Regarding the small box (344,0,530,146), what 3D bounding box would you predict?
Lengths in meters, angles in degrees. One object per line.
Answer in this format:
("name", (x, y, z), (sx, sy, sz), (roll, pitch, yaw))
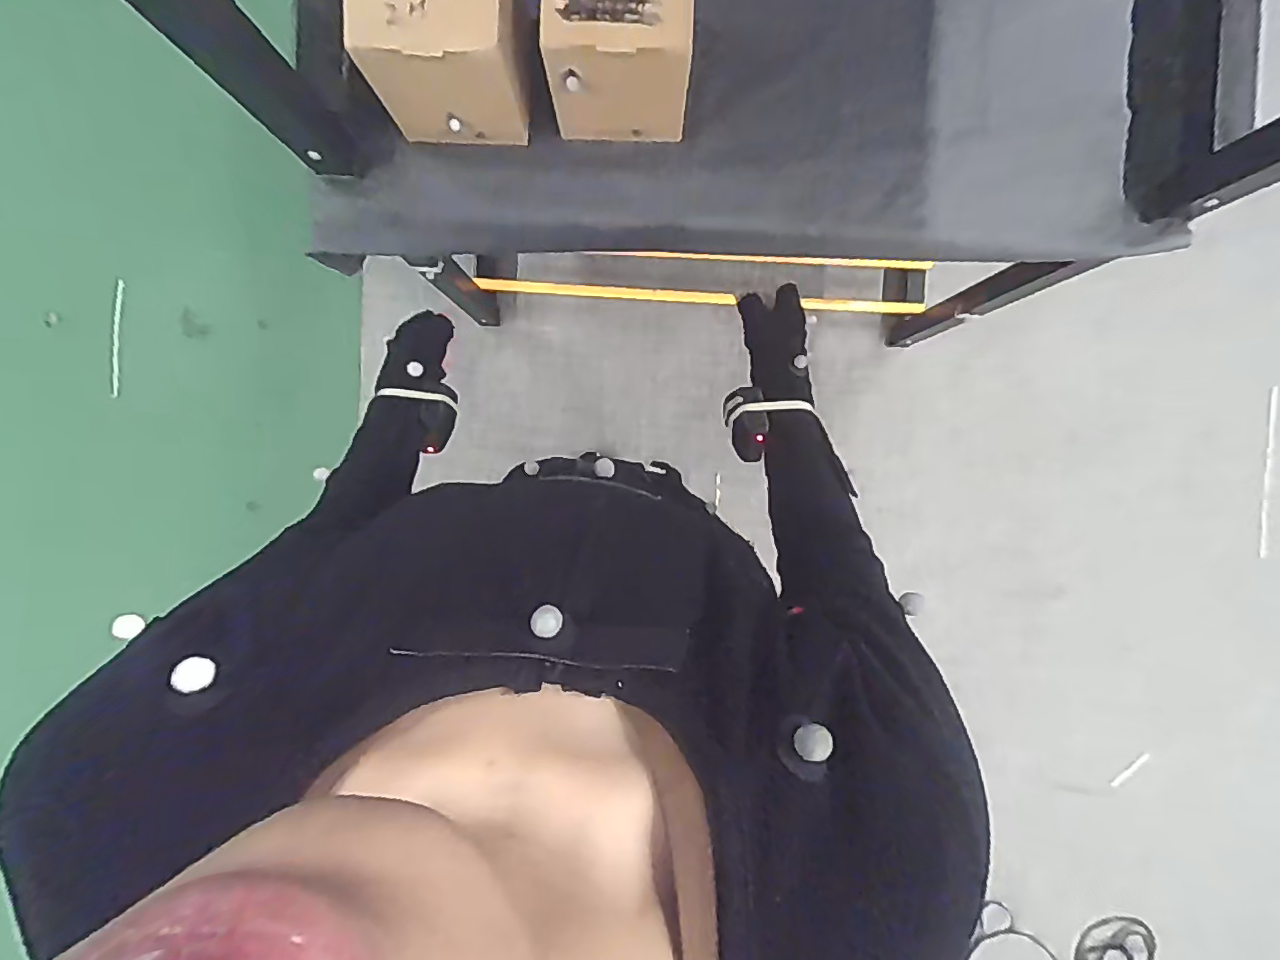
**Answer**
("small box", (-0.231, -0.543, 0.653), (0.168, 0.176, 0.179), (1, 92, -1))
